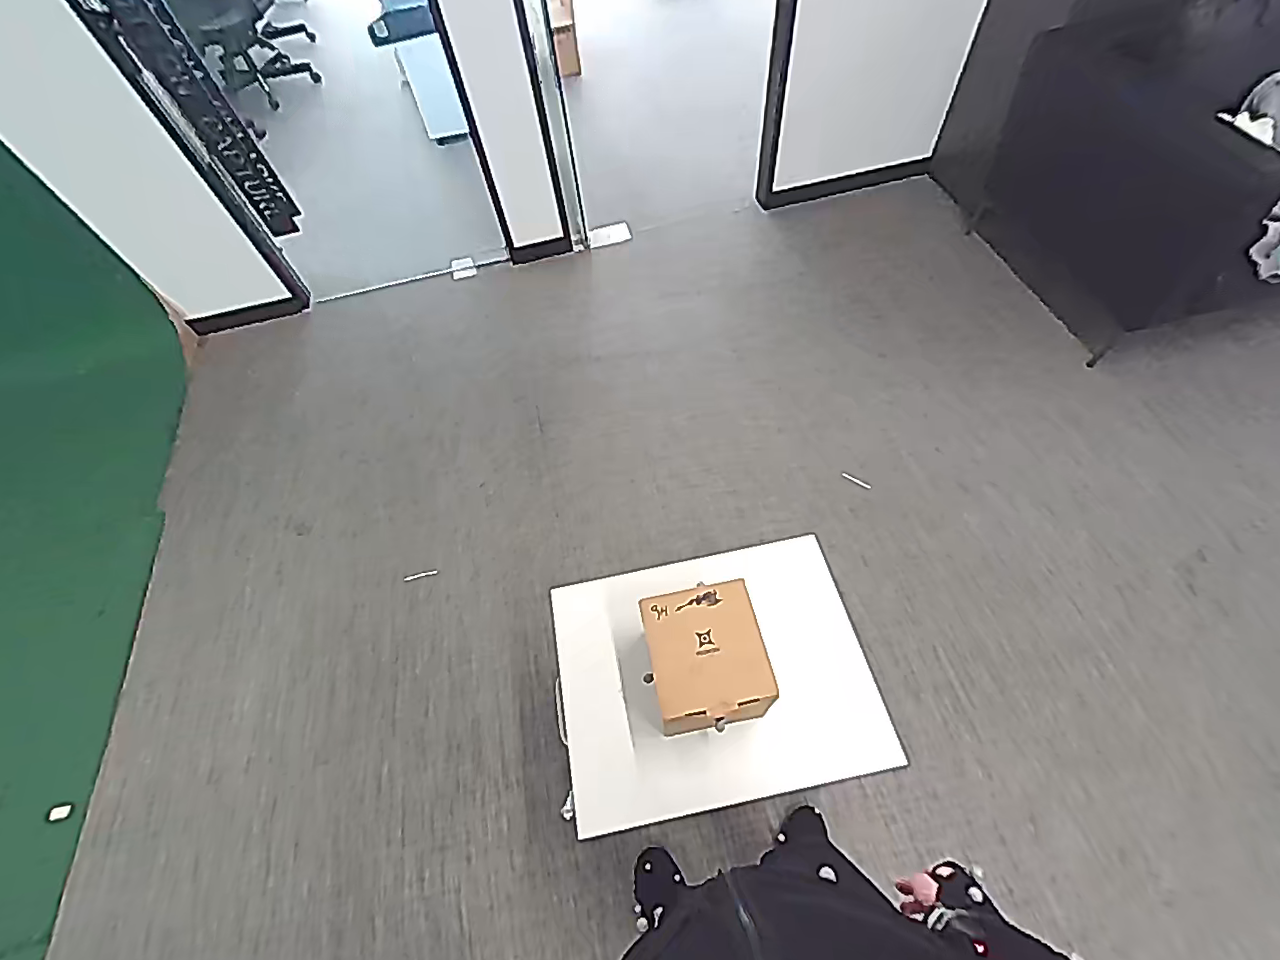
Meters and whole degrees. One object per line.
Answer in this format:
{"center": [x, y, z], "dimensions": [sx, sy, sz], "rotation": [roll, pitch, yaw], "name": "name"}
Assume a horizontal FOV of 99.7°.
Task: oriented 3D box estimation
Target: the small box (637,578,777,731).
{"center": [0.100, 0.279, 0.843], "dimensions": [0.168, 0.176, 0.179], "rotation": [-13, 57, -3], "name": "small box"}
